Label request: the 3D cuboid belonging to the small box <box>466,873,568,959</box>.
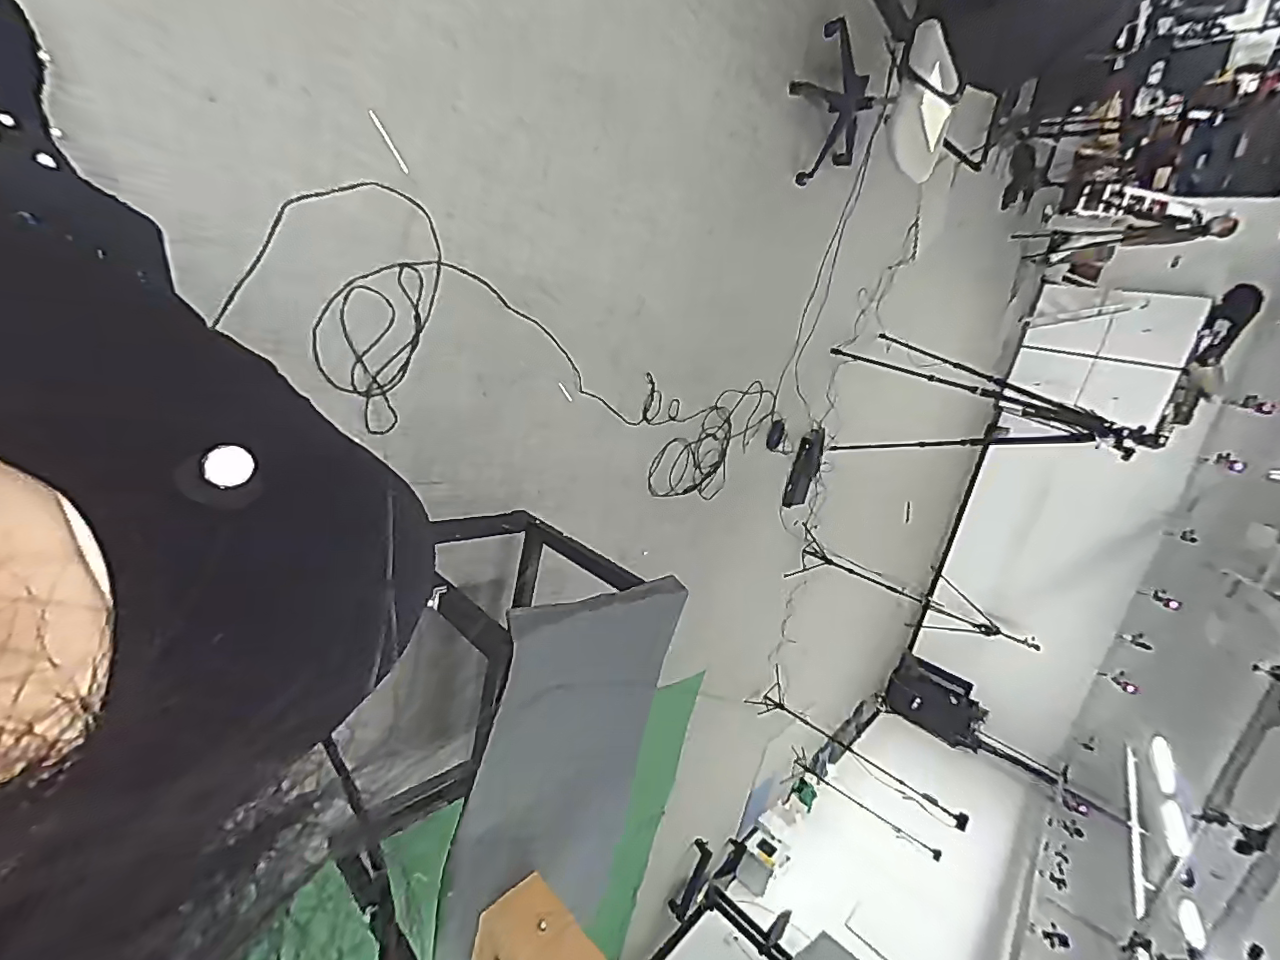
[{"bbox_3d":[-0.313,1.157,1.360,0.179,0.176,0.168,-3,111,-51],"label":"small box"}]
